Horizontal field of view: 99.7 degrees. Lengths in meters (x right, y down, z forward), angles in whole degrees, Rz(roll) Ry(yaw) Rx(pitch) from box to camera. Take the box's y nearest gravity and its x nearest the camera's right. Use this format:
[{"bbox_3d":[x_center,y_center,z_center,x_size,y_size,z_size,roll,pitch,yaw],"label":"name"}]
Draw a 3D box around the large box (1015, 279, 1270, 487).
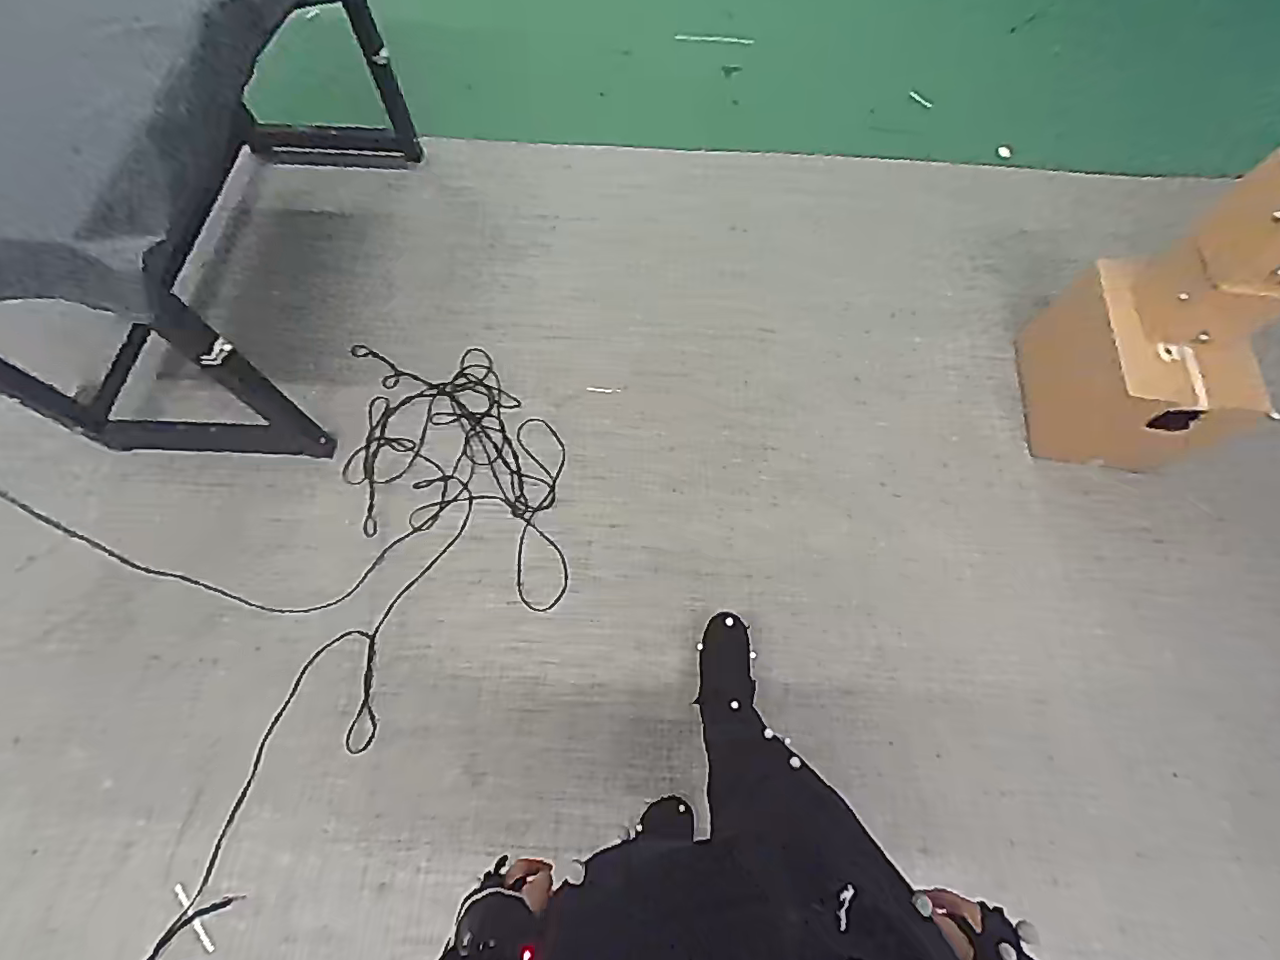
[{"bbox_3d":[1.234,-0.238,1.385,0.320,0.320,0.408,8,67,3],"label":"large box"}]
